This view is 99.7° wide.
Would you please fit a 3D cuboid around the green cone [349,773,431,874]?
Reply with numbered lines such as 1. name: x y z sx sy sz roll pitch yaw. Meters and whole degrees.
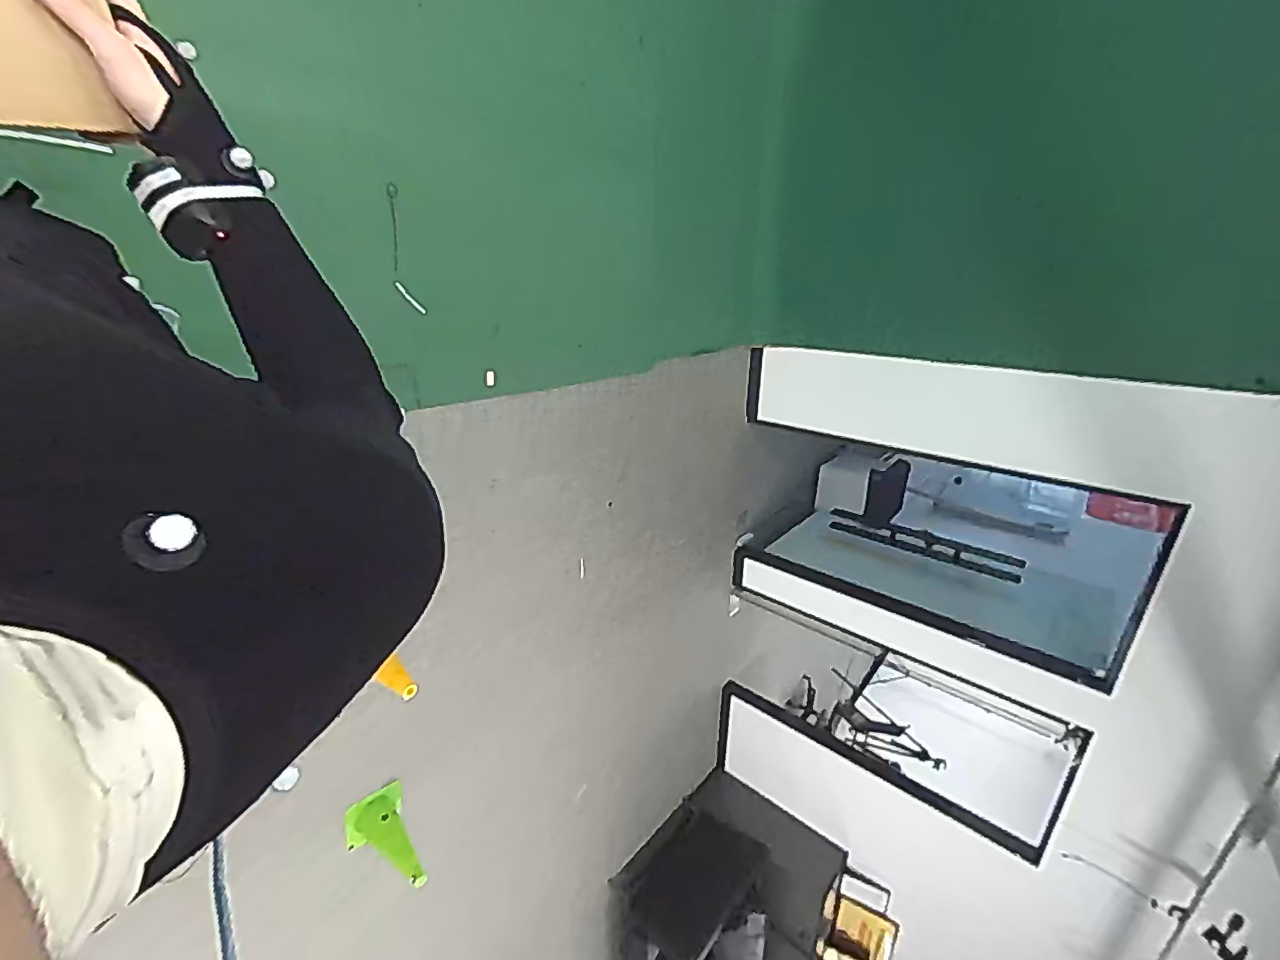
1. green cone: -0.854 1.266 1.927 0.200 0.368 0.202 -15 114 -48
